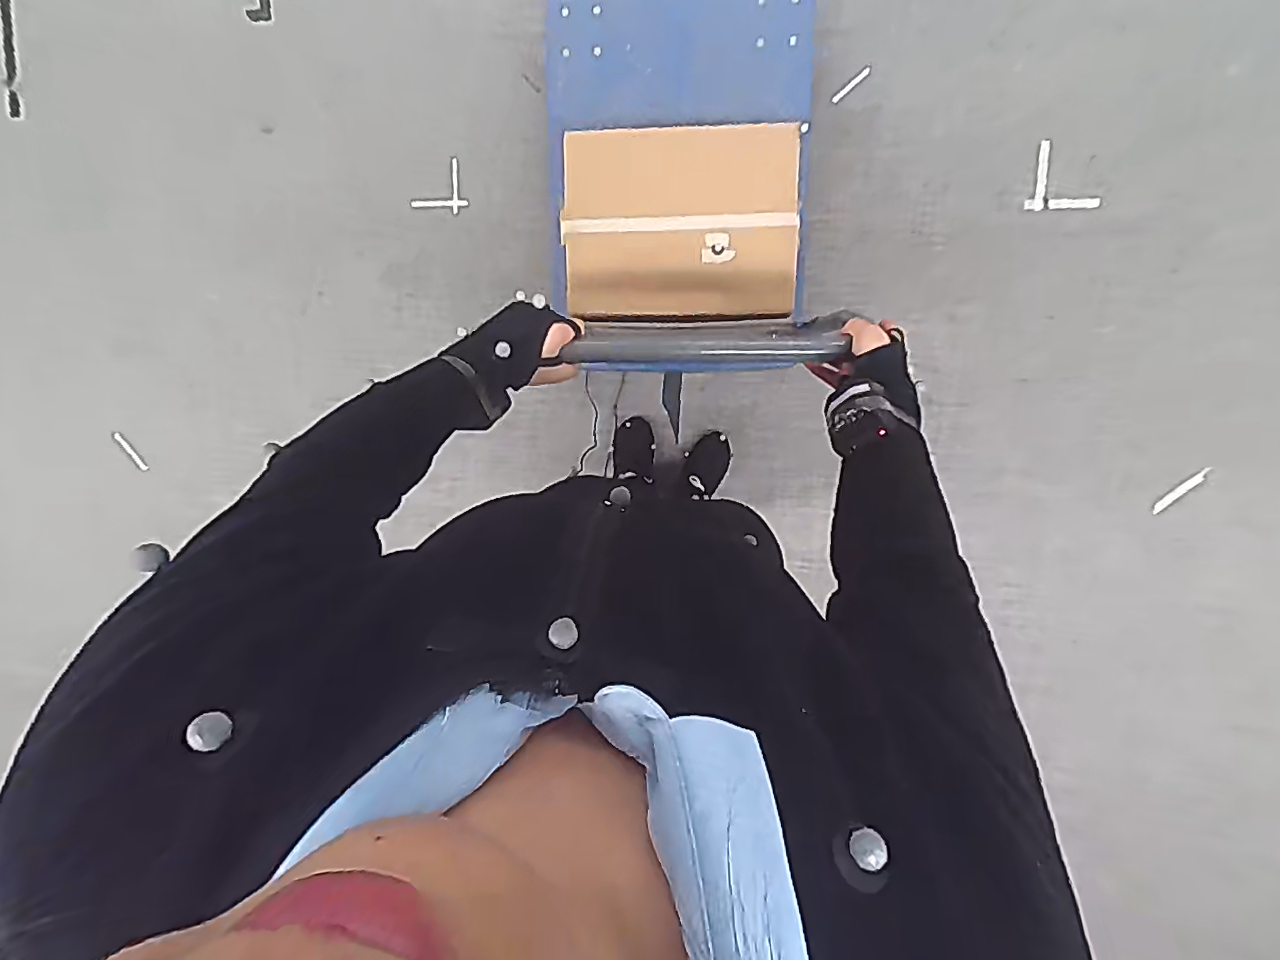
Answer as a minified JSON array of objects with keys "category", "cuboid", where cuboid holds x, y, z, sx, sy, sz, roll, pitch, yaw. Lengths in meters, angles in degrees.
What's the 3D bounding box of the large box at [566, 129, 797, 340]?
[{"category":"large box","cuboid":[0.079,-0.465,1.100,0.408,0.320,0.320,0,99,4]}]
